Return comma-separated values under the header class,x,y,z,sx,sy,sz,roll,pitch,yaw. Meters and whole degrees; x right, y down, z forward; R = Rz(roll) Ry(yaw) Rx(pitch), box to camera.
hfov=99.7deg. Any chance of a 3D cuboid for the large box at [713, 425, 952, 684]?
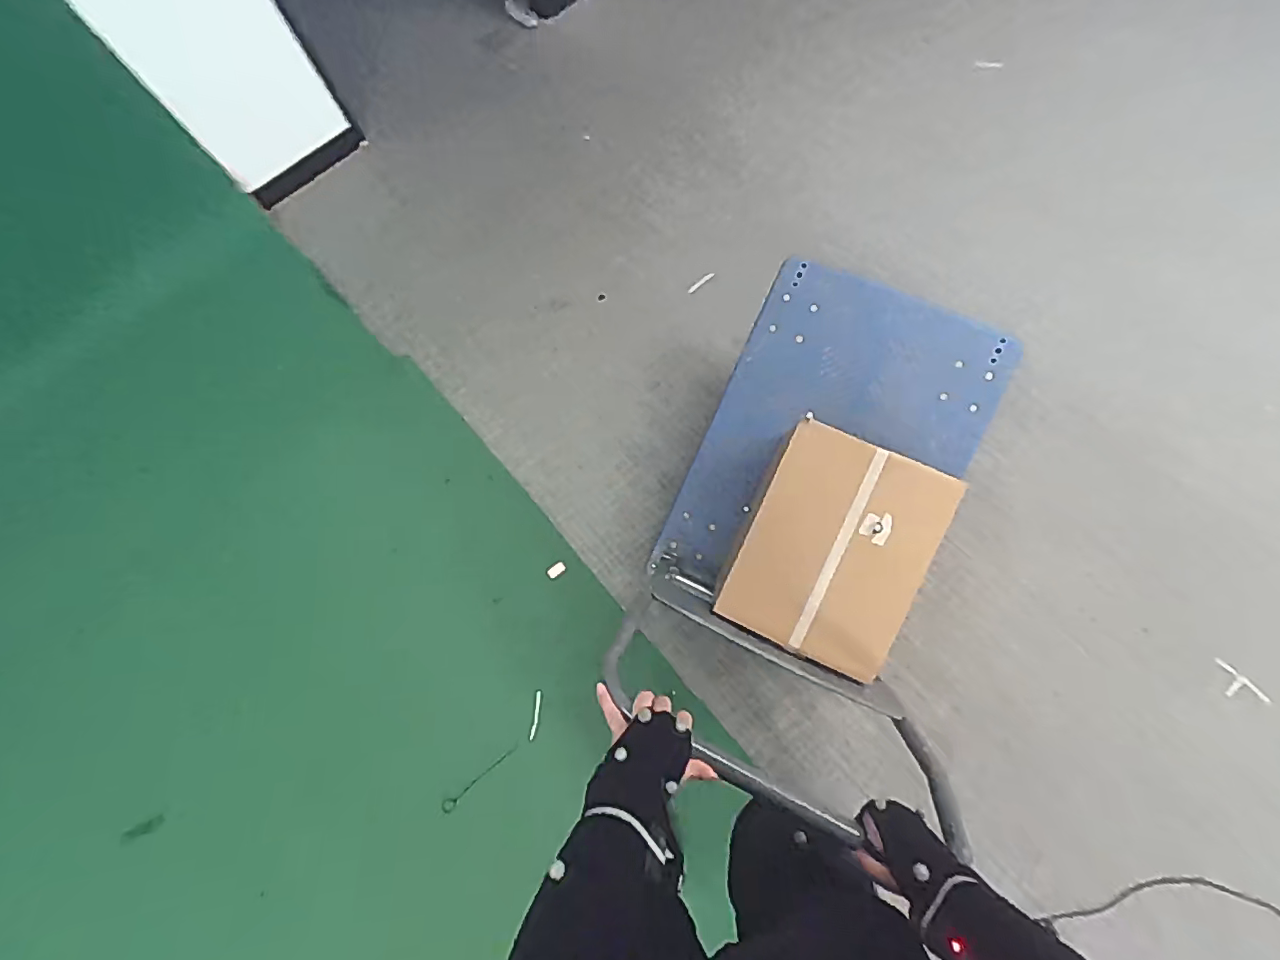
class,x,y,z,sx,sy,sz,roll,pitch,yaw
large box,0.377,0.144,1.154,0.320,0.320,0.408,25,92,8
